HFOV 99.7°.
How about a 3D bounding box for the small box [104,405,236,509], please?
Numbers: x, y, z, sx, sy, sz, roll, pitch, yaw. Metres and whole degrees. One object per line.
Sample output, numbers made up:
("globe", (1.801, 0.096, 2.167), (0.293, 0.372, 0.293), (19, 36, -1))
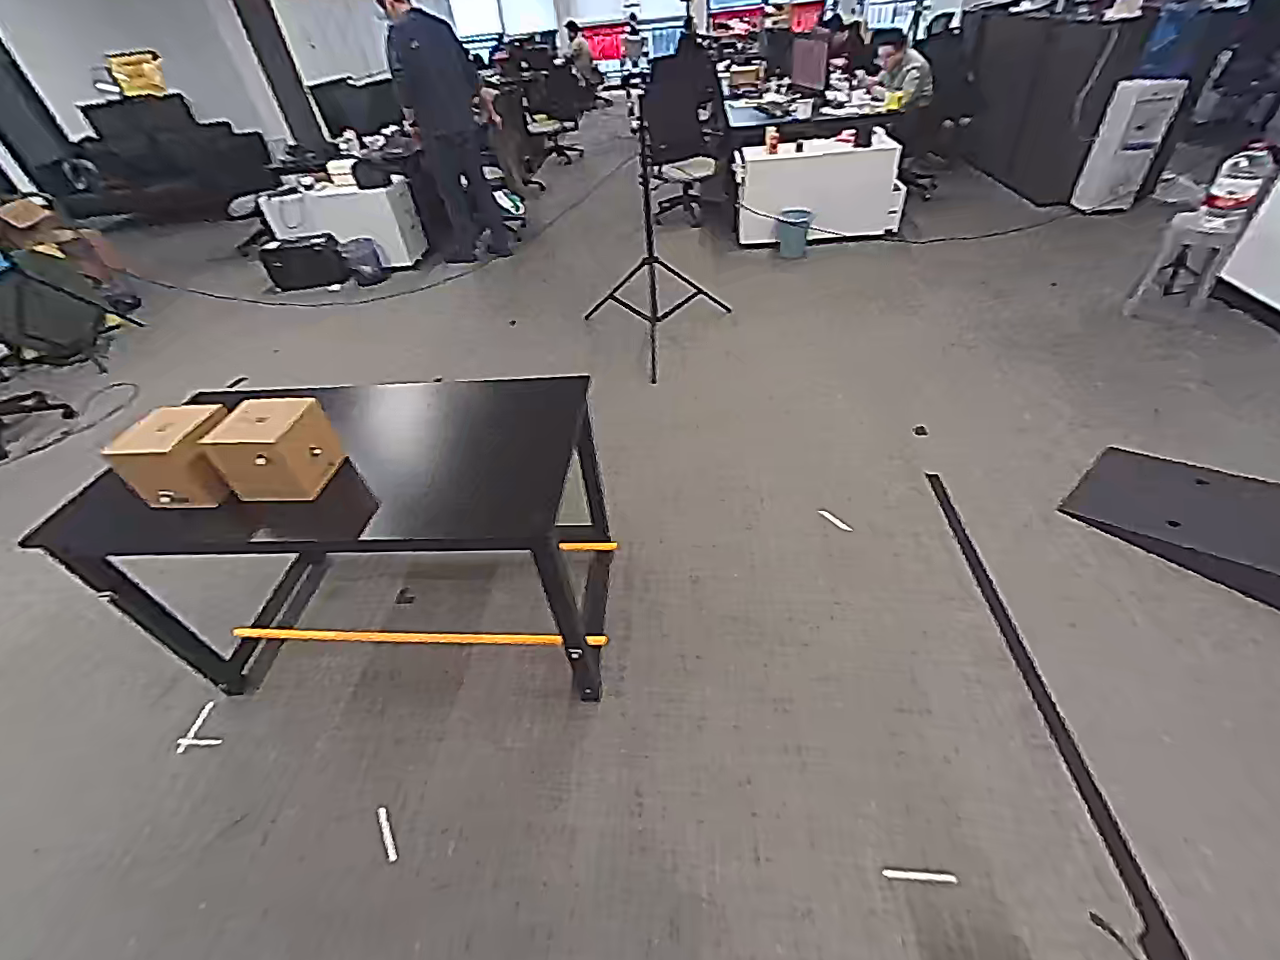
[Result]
("small box", (-1.031, -0.052, 1.236), (0.168, 0.176, 0.179), (-3, 43, 7))

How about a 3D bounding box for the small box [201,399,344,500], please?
("small box", (-0.812, -0.067, 1.221), (0.179, 0.176, 0.168), (-1, 41, 7))
